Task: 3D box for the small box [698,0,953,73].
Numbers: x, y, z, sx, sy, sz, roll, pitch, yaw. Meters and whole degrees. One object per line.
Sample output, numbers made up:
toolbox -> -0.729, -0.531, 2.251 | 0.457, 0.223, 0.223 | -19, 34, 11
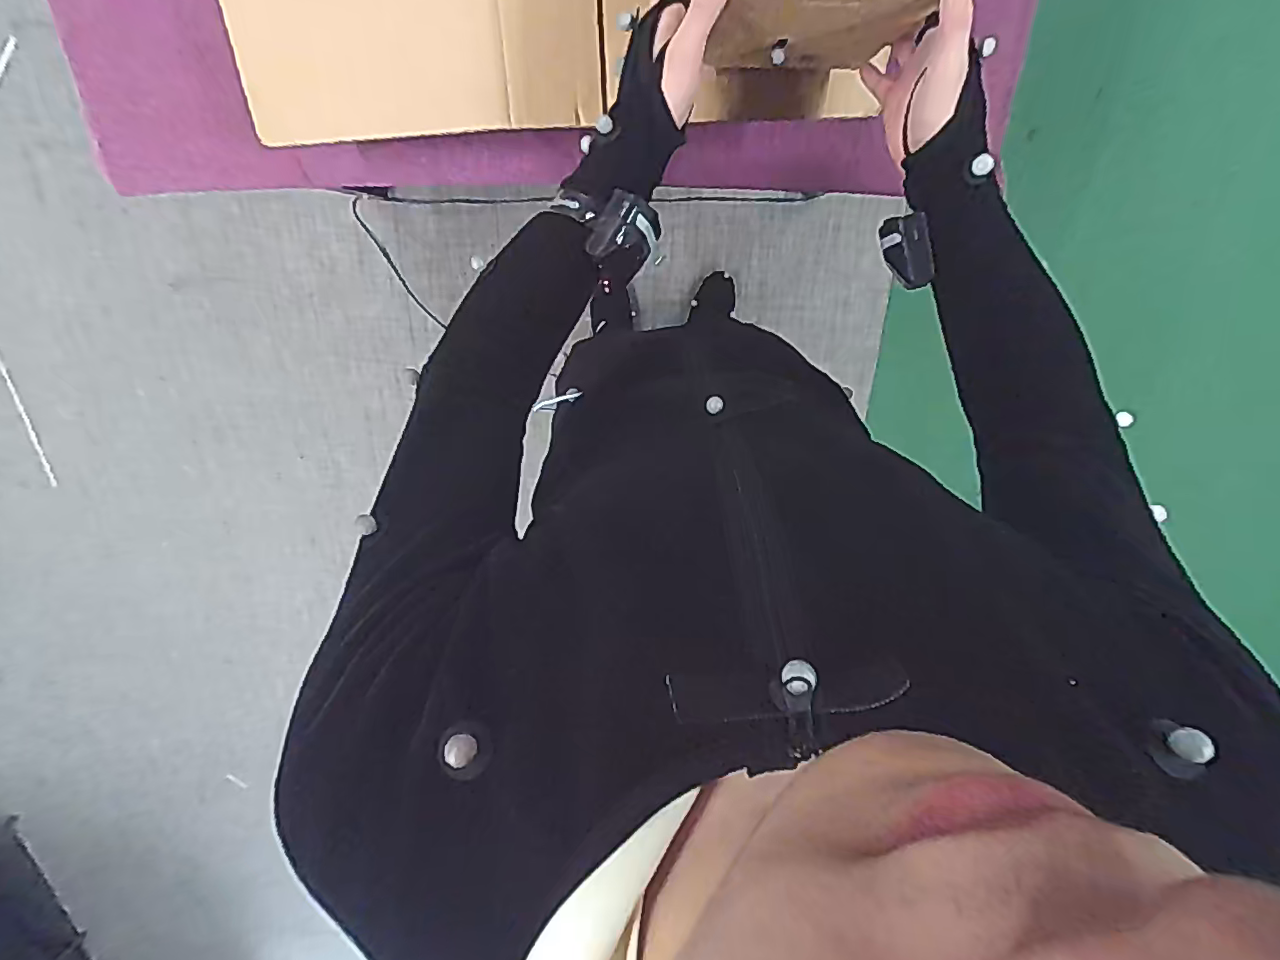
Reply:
small box -> 0.140, -0.451, 0.422 | 0.168, 0.176, 0.179 | -1, 114, -3
